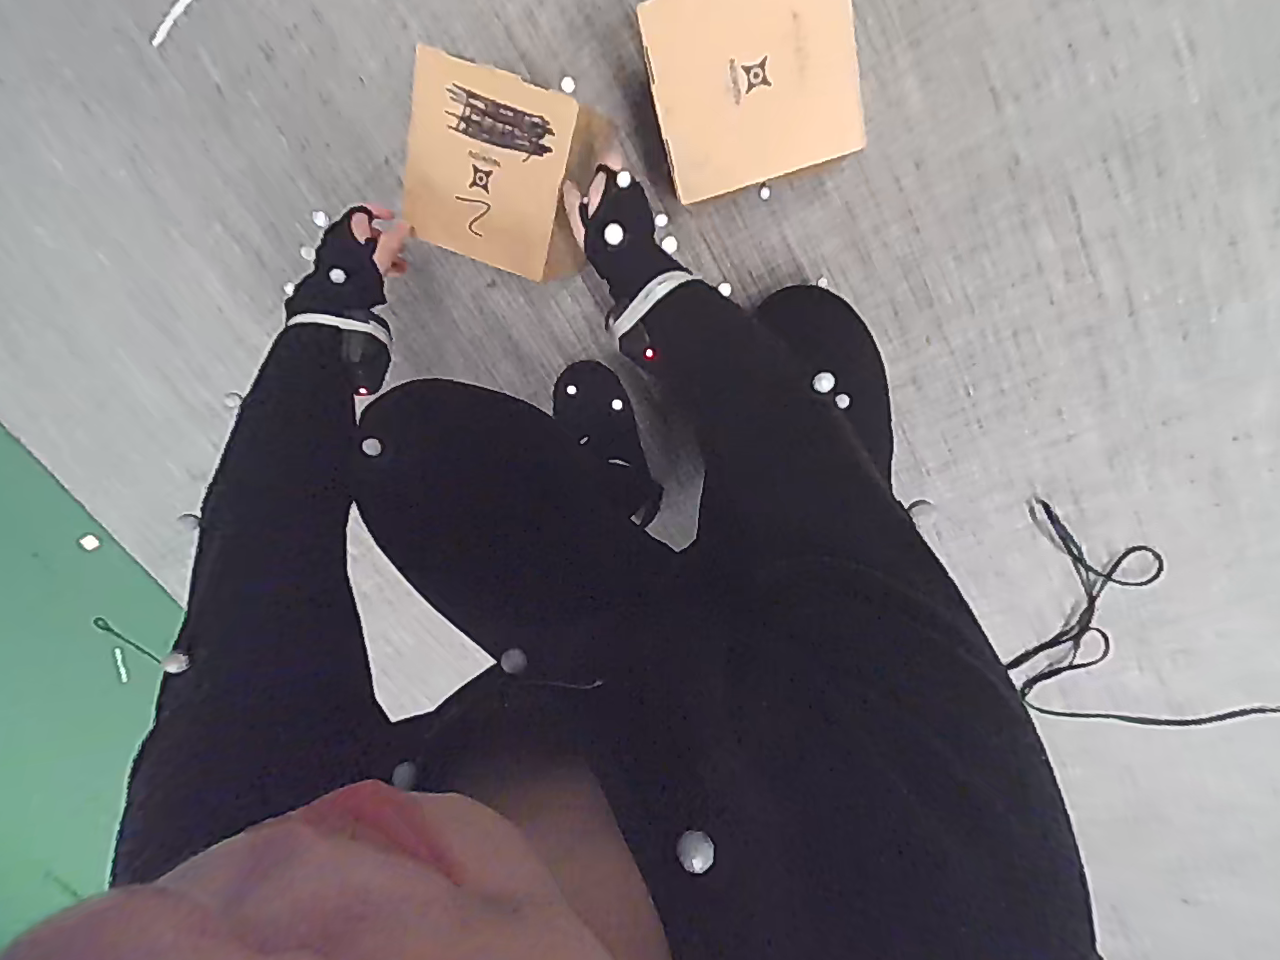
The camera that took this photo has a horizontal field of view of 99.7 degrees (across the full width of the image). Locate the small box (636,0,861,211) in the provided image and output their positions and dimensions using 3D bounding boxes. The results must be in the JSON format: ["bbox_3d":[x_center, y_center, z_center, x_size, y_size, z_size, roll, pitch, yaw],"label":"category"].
[{"bbox_3d":[0.111,-0.385,0.550,0.179,0.176,0.168,-10,112,15],"label":"small box"}]
